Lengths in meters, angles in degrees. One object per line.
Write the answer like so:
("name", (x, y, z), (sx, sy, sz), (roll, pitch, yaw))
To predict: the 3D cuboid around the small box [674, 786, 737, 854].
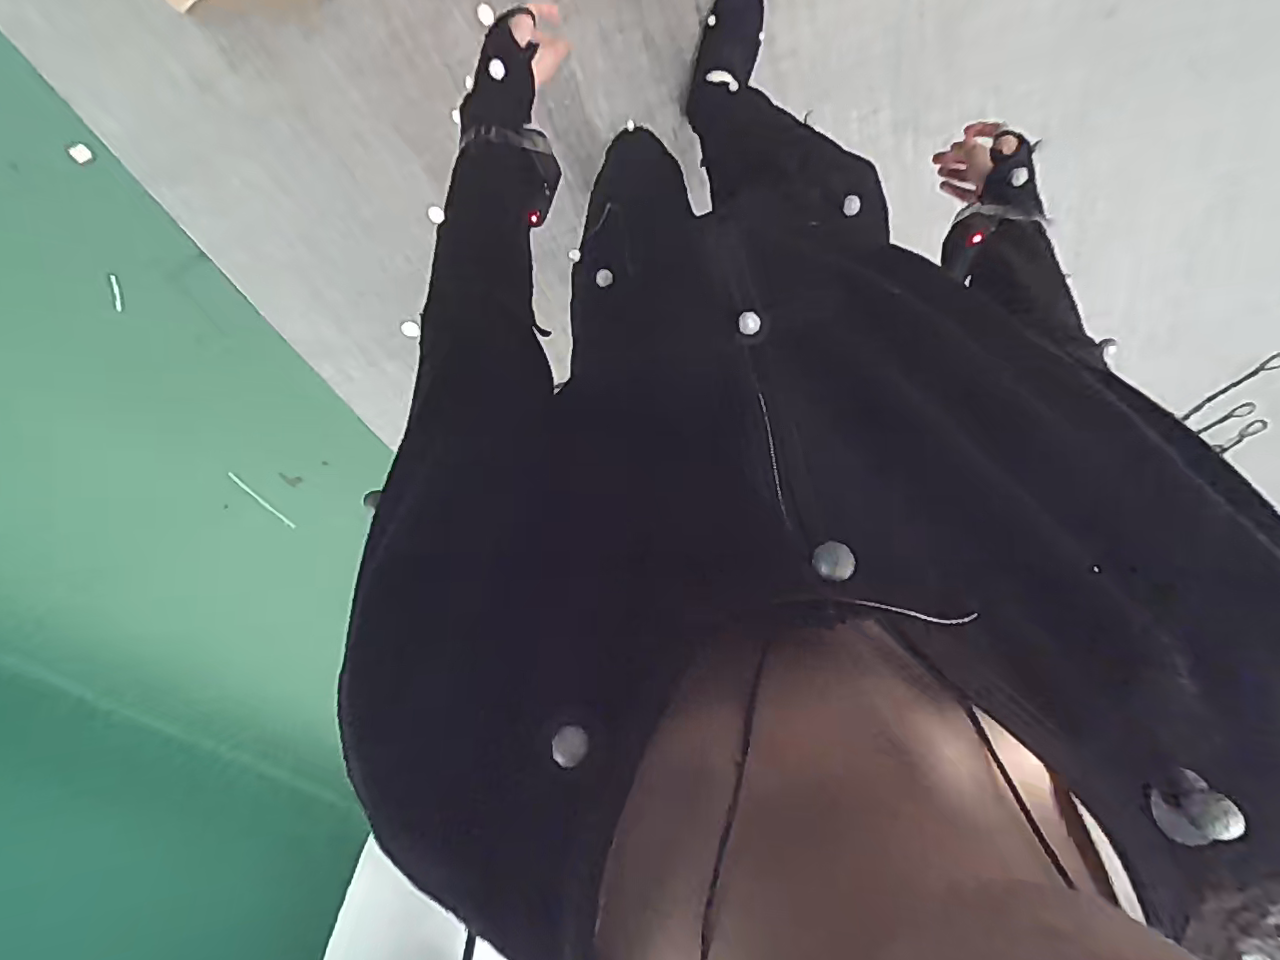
("small box", (0.225, 1.171, 1.857), (0.179, 0.176, 0.168), (-16, 132, 18))
